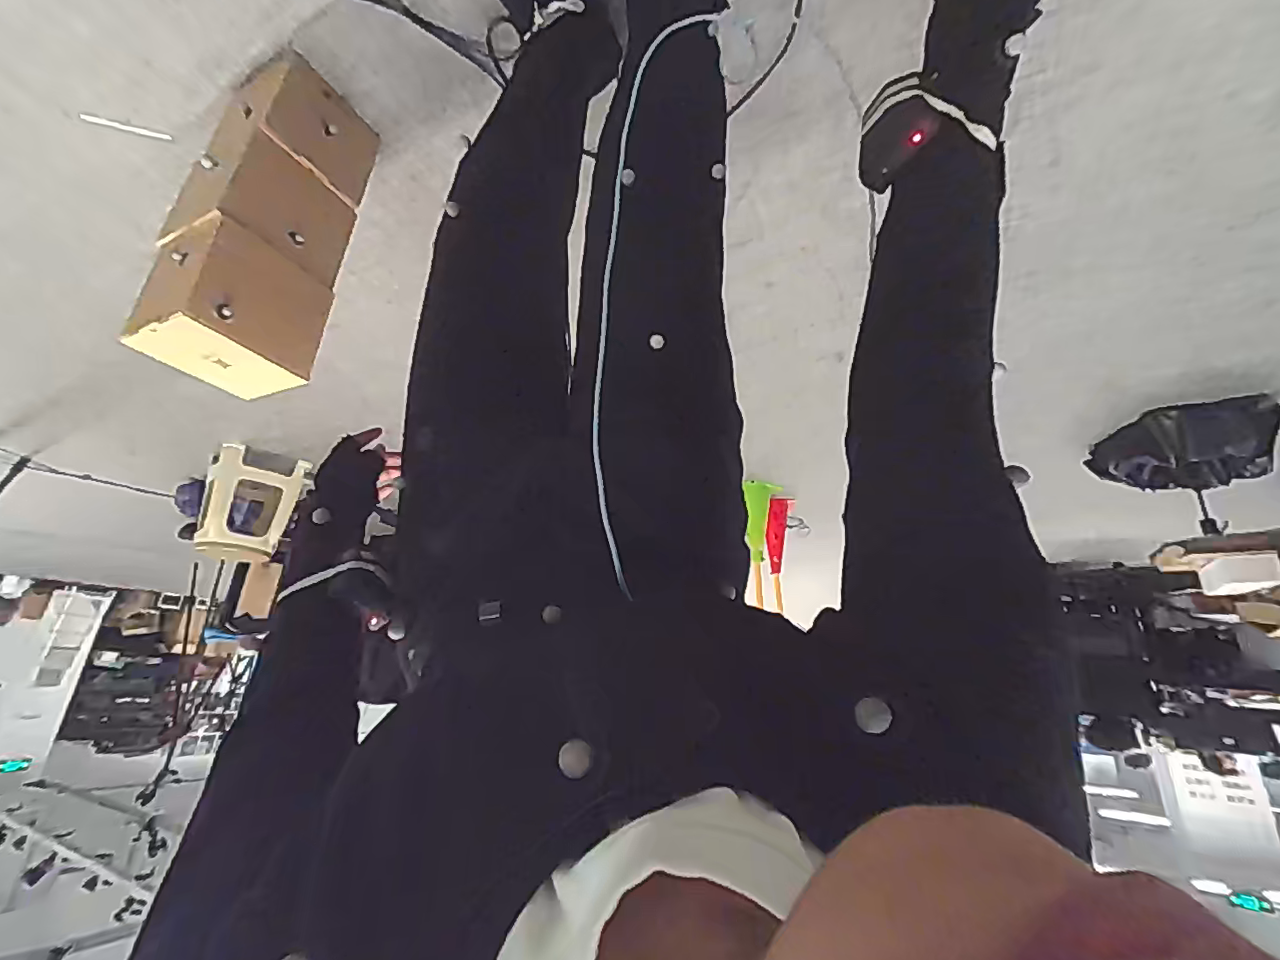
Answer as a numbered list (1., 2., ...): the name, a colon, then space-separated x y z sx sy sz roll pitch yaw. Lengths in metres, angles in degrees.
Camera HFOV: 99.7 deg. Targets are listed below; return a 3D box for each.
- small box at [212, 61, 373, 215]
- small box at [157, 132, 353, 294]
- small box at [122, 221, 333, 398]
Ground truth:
1. small box: -0.583 -0.555 0.919 0.179 0.176 0.168 -7 156 25
2. small box: -0.598 -0.401 0.863 0.168 0.176 0.179 -6 156 25
3. small box: -0.603 -0.246 0.813 0.168 0.176 0.179 -6 156 25
